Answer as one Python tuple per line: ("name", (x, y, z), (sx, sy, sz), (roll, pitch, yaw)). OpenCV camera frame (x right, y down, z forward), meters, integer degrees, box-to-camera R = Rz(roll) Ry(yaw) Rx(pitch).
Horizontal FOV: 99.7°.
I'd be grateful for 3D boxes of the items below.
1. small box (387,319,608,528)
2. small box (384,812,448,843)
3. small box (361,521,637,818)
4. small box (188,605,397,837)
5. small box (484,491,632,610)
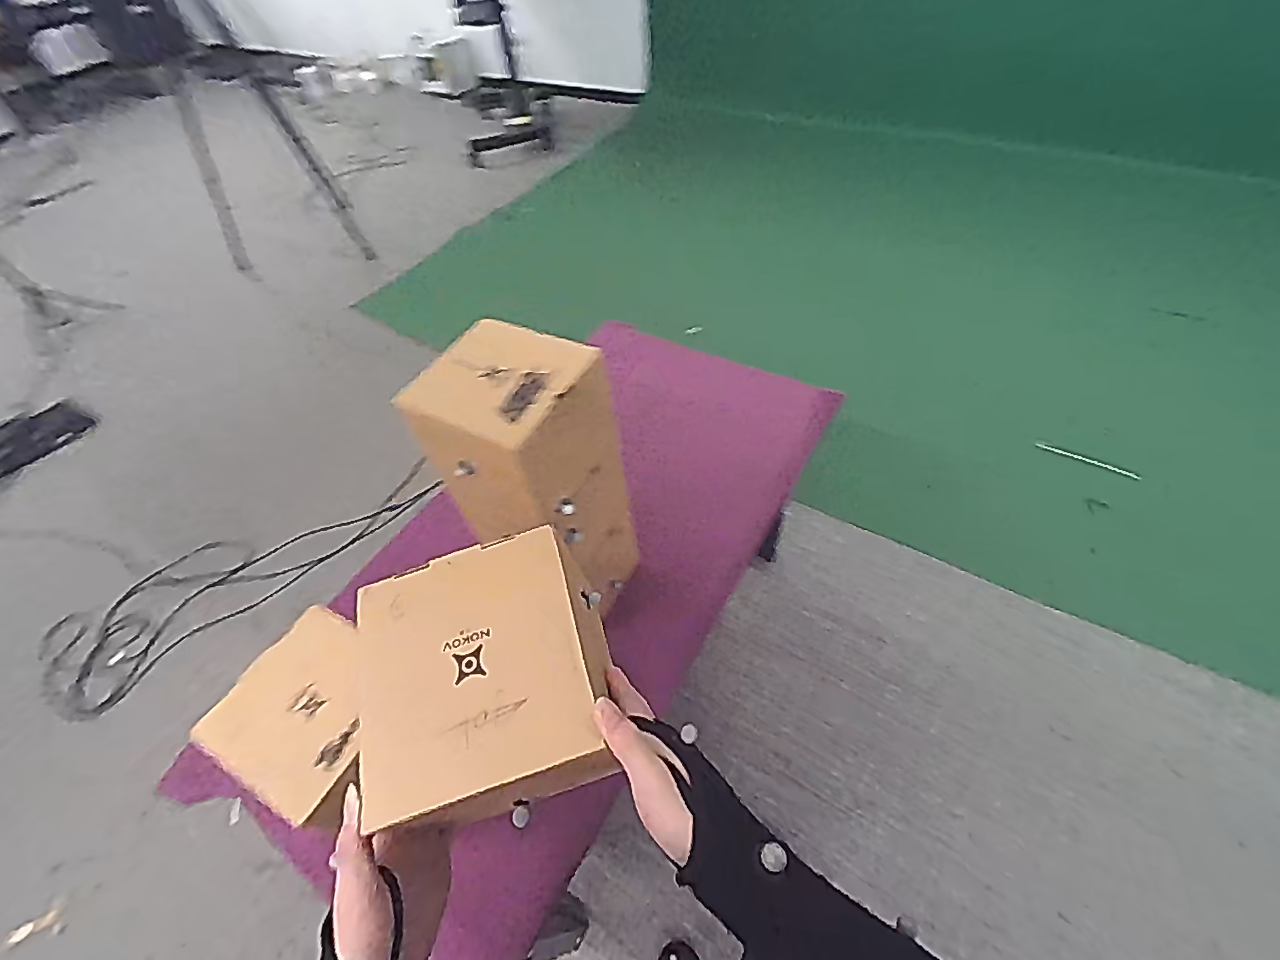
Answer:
("small box", (-0.156, -0.065, 0.660), (0.179, 0.176, 0.168), (20, 56, 22))
("small box", (-0.341, 0.376, 0.754), (0.179, 0.176, 0.168), (19, 56, 19))
("small box", (-0.109, 0.166, 0.456), (0.168, 0.176, 0.179), (-18, 58, -2))
("small box", (-0.342, 0.280, 0.622), (0.179, 0.176, 0.168), (21, 57, 20))
("small box", (-0.131, 0.131, 0.923), (0.179, 0.176, 0.168), (22, 57, 22))
